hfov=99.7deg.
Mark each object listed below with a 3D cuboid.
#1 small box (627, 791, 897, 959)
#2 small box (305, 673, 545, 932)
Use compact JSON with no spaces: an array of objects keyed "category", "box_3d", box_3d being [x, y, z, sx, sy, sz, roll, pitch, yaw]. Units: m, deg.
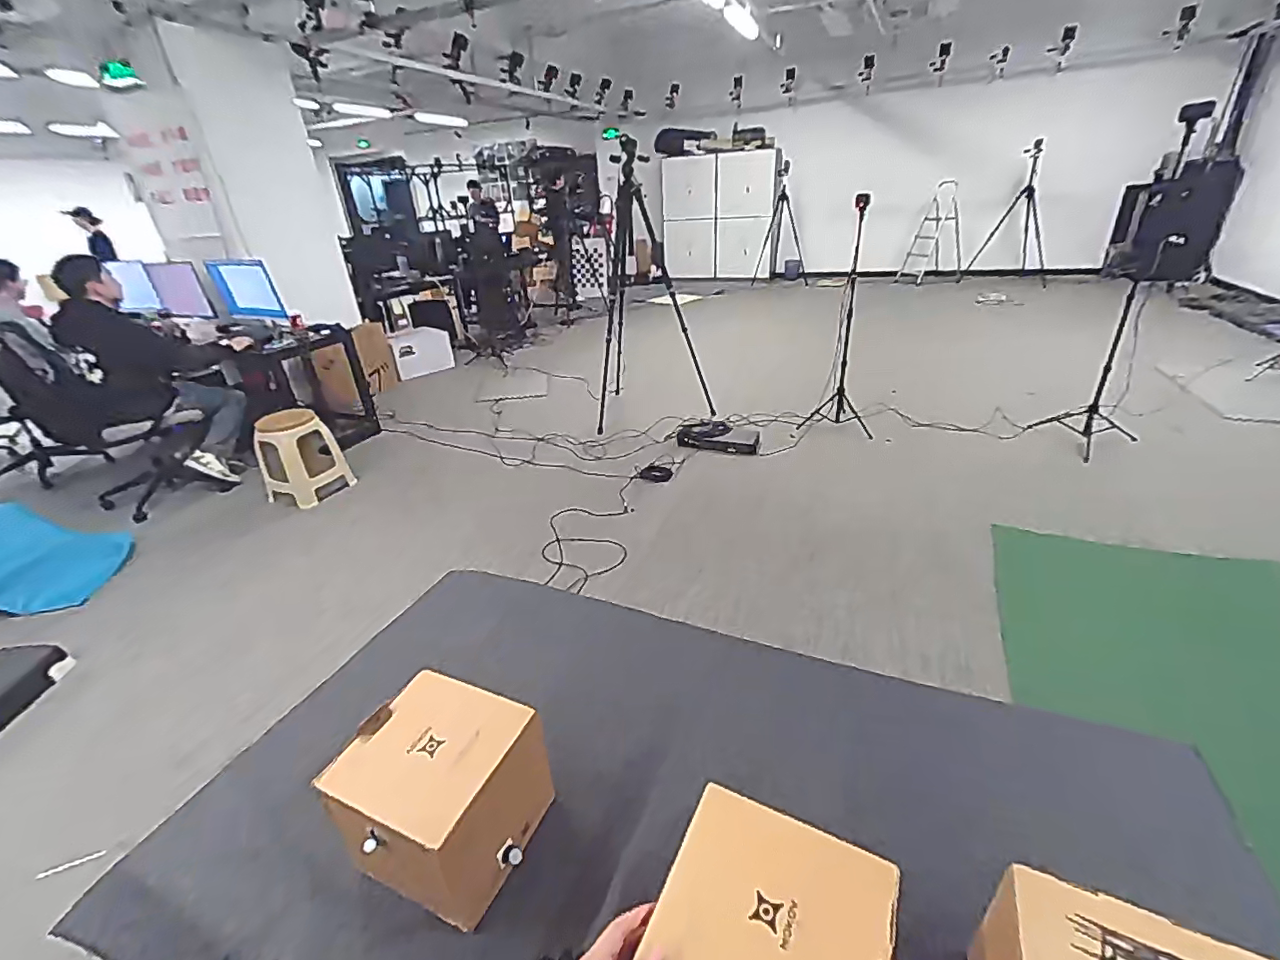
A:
[{"category":"small box","box_3d":[0.104,0.421,0.461,0.179,0.176,0.168,12,31,26]},{"category":"small box","box_3d":[-0.230,0.361,0.618,0.179,0.176,0.168,10,31,22]}]
